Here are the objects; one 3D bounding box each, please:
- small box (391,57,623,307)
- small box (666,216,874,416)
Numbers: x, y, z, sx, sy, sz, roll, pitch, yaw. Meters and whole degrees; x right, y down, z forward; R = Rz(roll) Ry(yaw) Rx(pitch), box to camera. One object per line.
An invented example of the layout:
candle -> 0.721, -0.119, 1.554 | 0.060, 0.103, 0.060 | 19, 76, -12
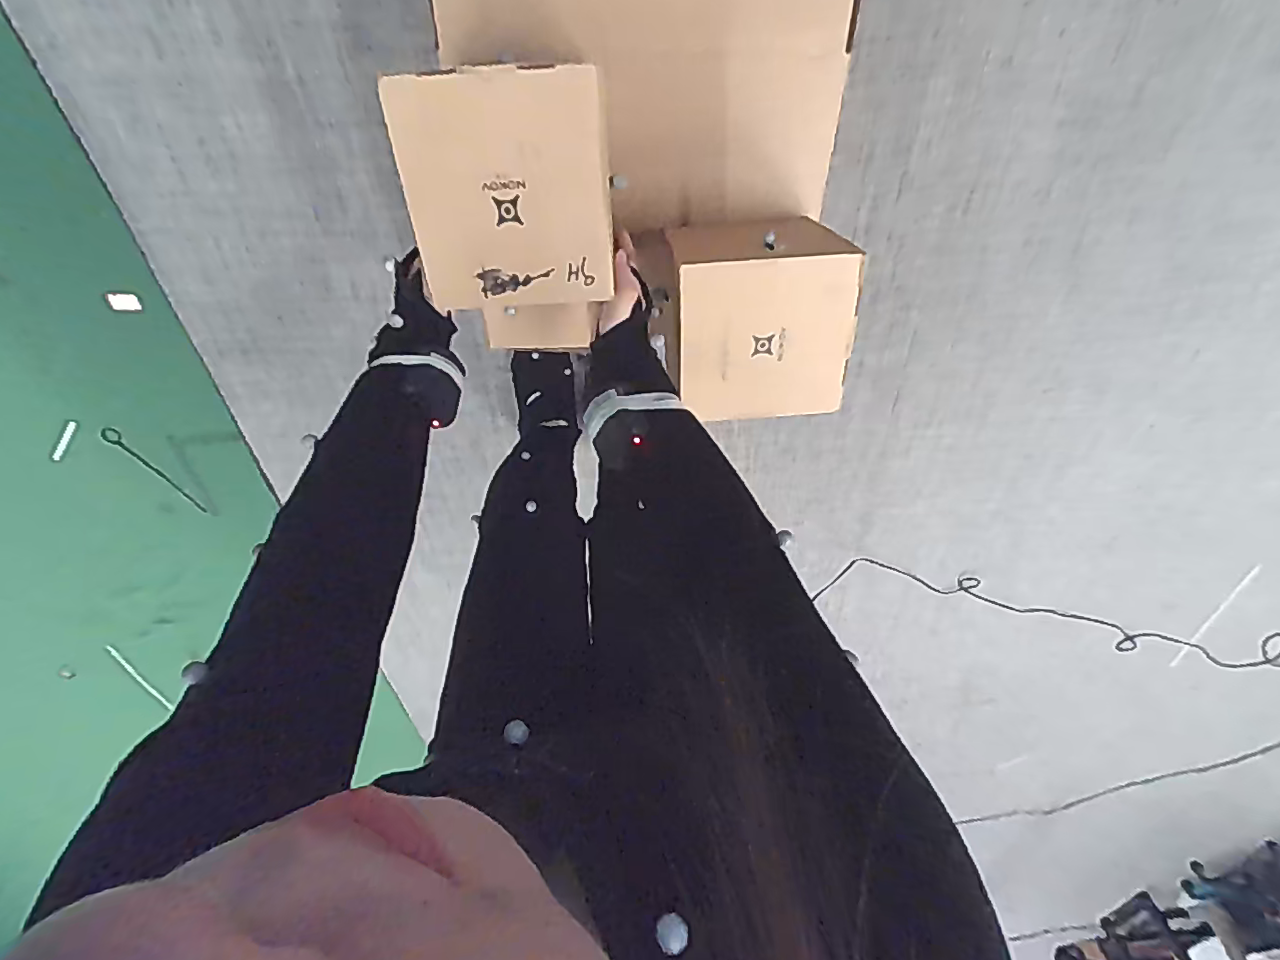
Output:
small box -> -0.105, -0.276, 0.511 | 0.168, 0.176, 0.179 | -4, 123, 0
small box -> 0.125, -0.187, 0.599 | 0.179, 0.176, 0.168 | -4, 126, -1
